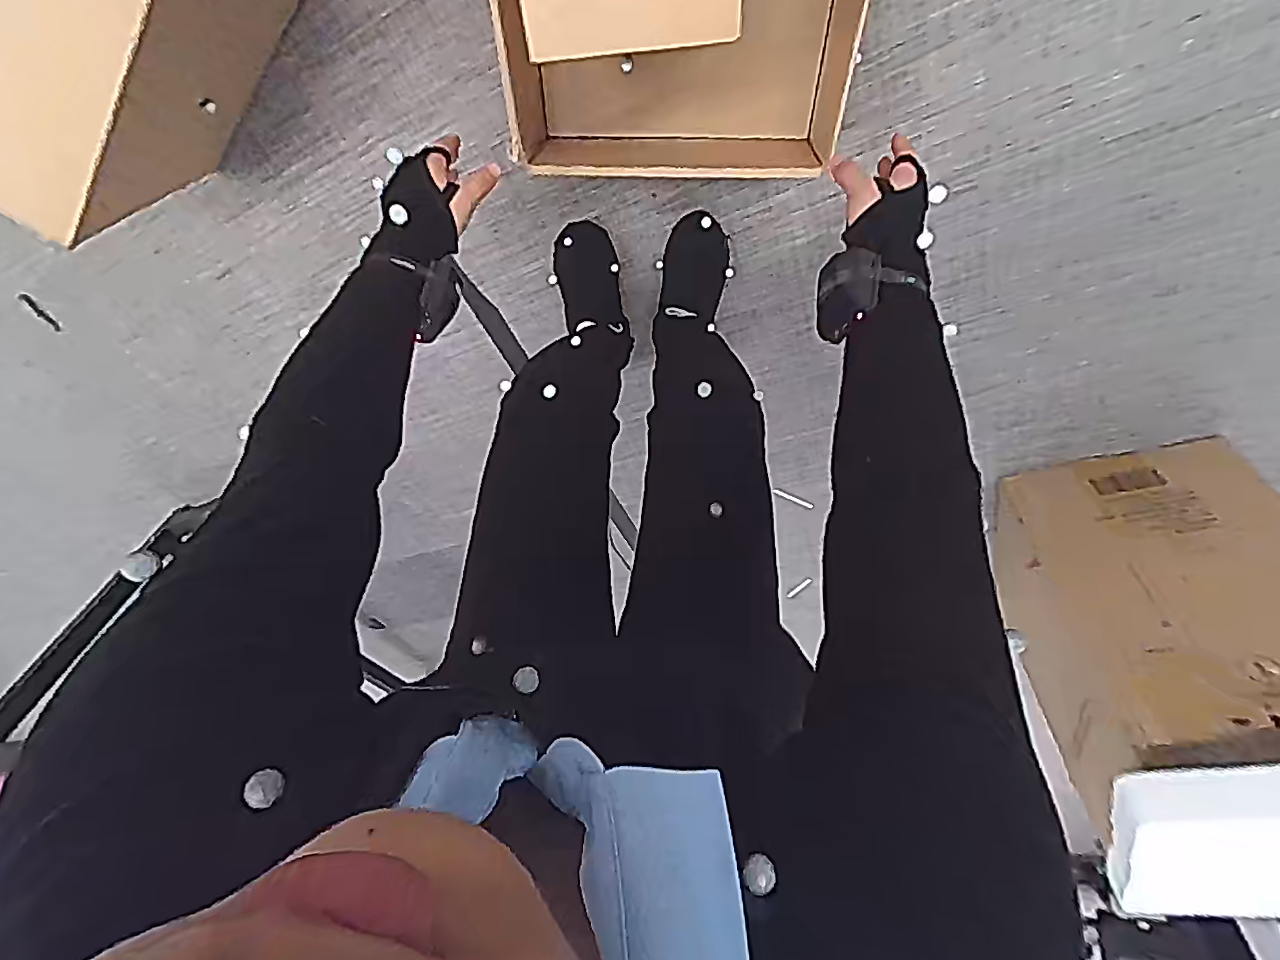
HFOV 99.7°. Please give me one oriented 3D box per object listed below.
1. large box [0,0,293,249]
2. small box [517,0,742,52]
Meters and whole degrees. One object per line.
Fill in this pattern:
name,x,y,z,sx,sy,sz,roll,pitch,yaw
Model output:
large box,-0.662,-0.568,0.609,0.408,0.320,0.320,-29,125,32
small box,-0.007,-0.461,0.436,0.179,0.176,0.168,-1,133,6
